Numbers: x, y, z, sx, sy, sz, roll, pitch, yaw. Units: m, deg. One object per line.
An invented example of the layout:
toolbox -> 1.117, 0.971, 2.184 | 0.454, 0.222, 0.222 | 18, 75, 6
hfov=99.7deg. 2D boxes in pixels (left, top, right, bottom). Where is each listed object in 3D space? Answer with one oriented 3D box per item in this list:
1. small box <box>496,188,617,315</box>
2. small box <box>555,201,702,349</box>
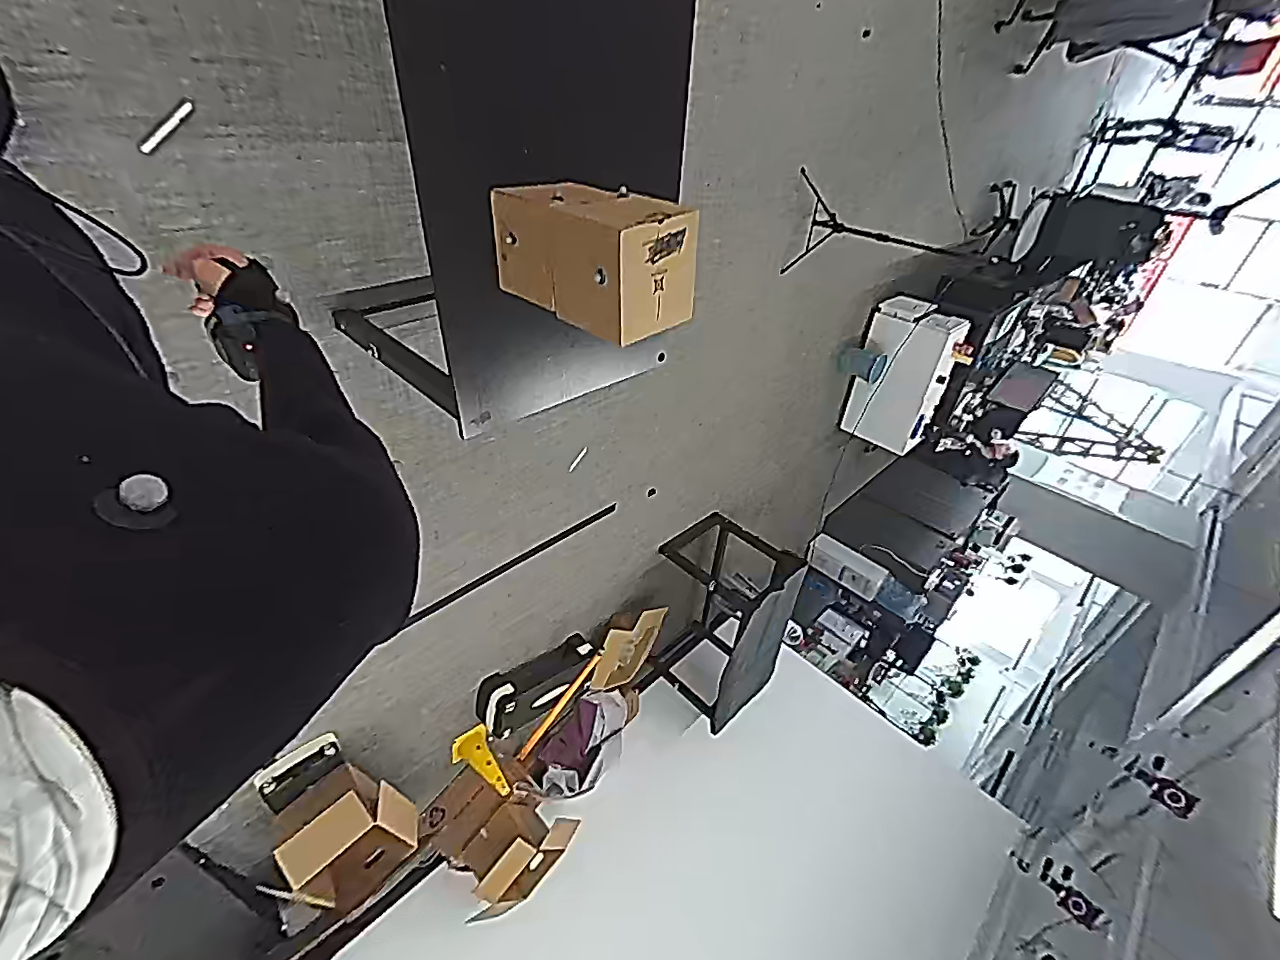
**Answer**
small box -> -0.132, -0.414, 0.964 | 0.179, 0.176, 0.168 | -28, 137, -35
small box -> -0.021, -0.338, 0.869 | 0.168, 0.176, 0.179 | -31, 139, -33
